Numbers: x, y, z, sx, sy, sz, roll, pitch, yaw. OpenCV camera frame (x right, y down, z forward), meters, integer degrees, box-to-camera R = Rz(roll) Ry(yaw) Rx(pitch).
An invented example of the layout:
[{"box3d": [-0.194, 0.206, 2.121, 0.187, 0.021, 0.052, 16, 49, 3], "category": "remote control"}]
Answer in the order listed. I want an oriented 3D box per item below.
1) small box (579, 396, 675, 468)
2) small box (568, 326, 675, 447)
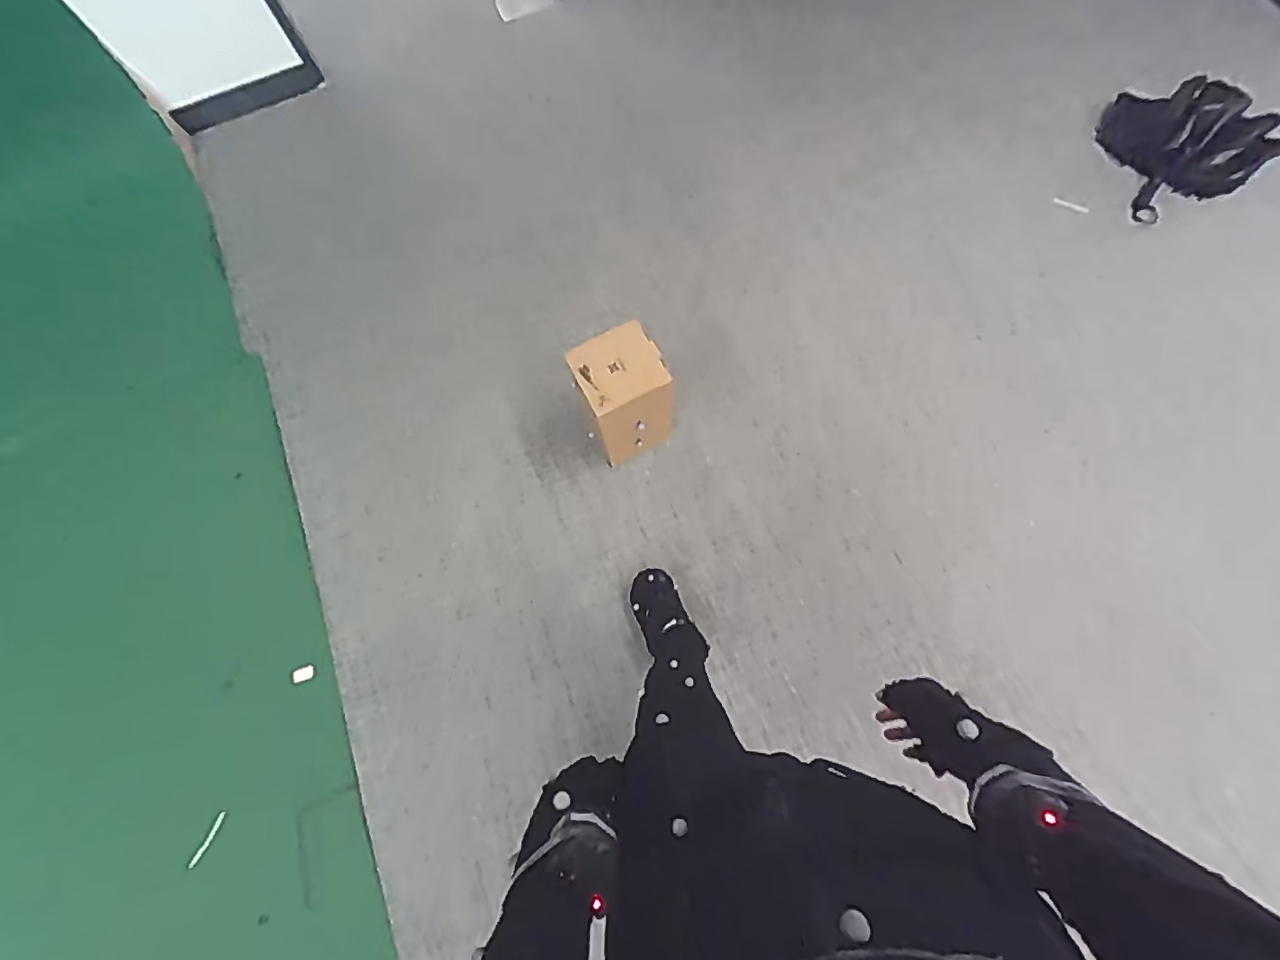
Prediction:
[{"box3d": [-0.031, -0.156, 1.351, 0.179, 0.176, 0.168, -32, 74, -7], "category": "small box"}, {"box3d": [-0.039, -0.200, 1.193, 0.179, 0.176, 0.168, -27, 73, -6], "category": "small box"}]
